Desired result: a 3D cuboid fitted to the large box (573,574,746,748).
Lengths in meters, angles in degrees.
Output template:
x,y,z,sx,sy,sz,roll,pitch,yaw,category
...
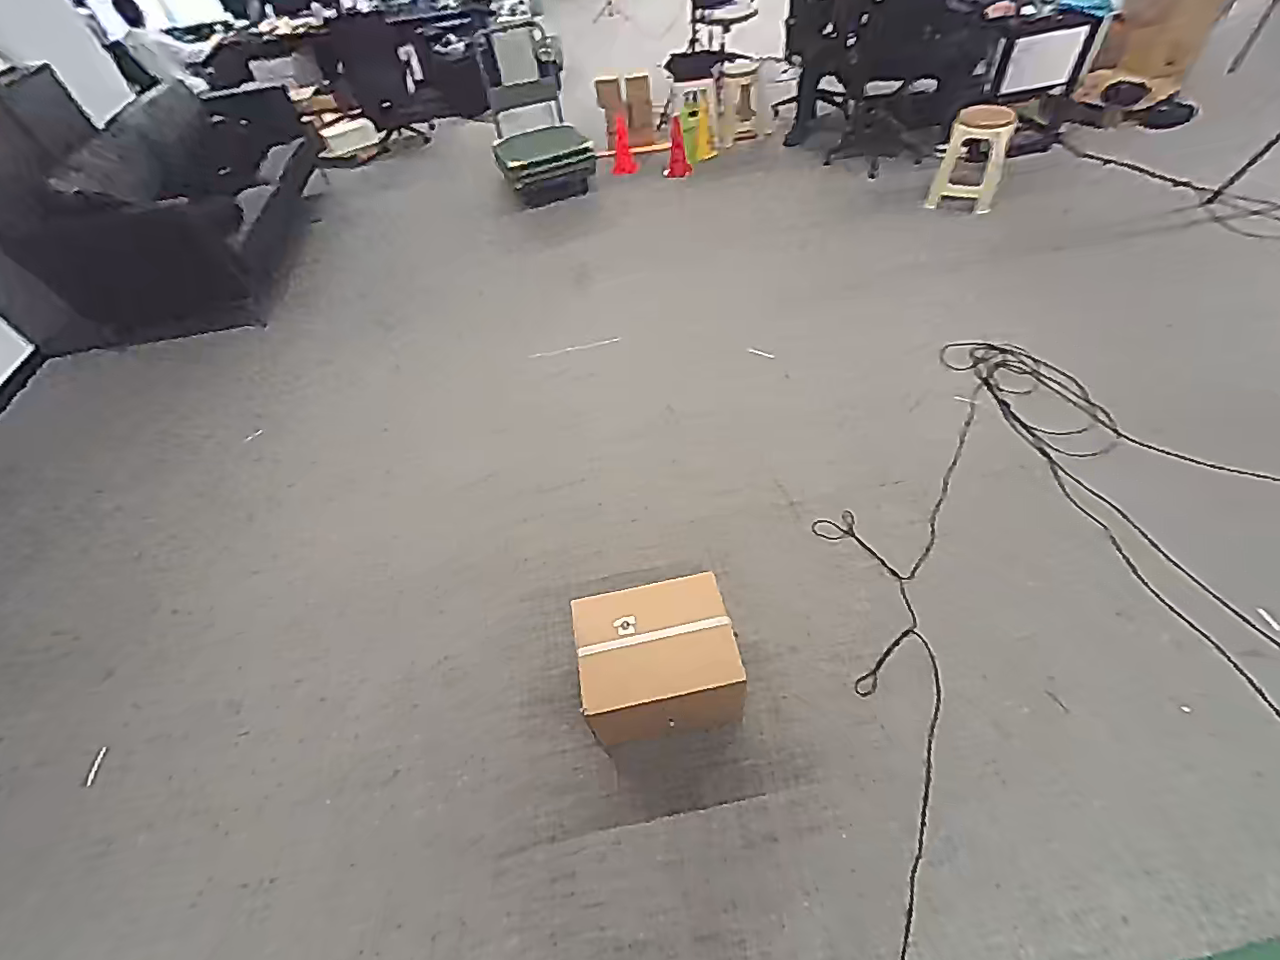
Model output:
x,y,z,sx,sy,sz,roll,pitch,yaw,category
0.055,0.511,1.516,0.408,0.320,0.320,-13,49,-2,large box
